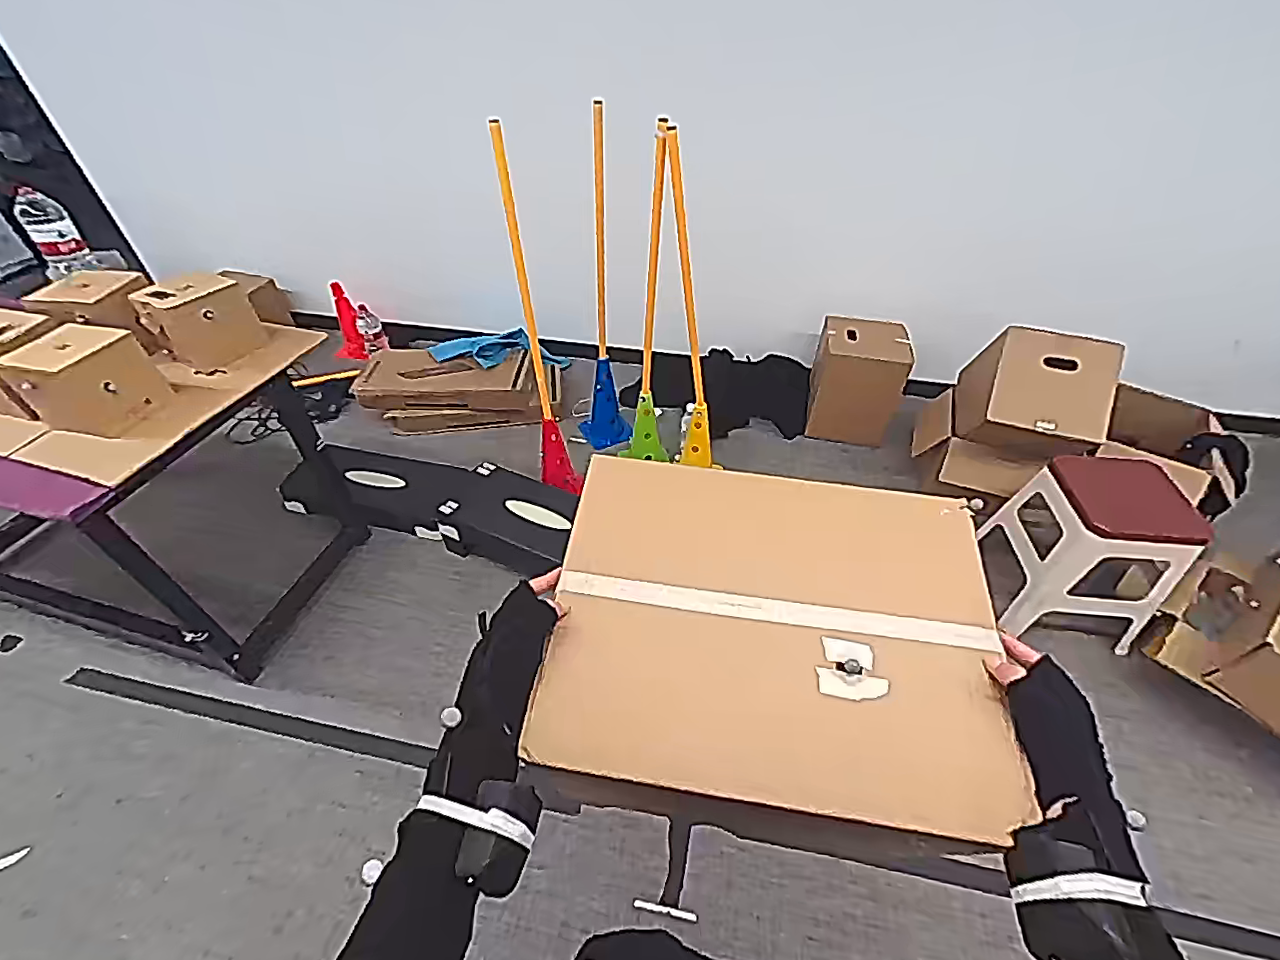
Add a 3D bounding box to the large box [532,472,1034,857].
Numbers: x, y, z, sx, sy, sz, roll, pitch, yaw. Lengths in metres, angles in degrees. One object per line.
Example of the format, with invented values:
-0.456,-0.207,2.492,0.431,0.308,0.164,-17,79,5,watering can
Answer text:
0.125,0.221,0.631,0.408,0.320,0.320,7,56,5,large box
